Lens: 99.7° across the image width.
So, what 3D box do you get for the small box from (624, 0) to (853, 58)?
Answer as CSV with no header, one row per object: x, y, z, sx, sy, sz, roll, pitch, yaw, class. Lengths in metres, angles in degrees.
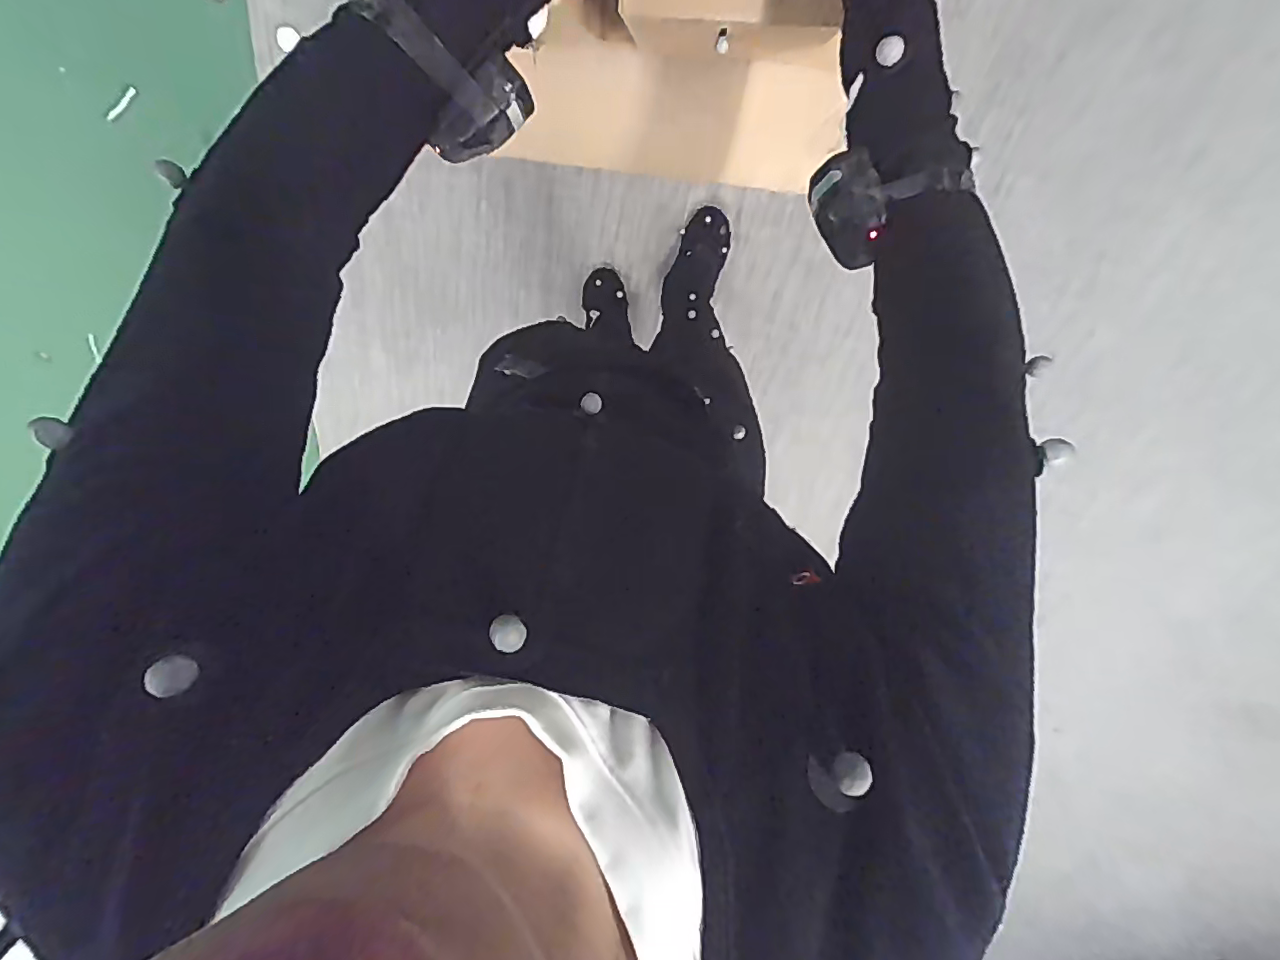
0.086,-0.465,0.445,0.179,0.176,0.168,5,122,3,small box

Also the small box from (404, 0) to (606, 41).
-0.125,-0.493,0.455,0.179,0.176,0.168,7,121,3,small box
